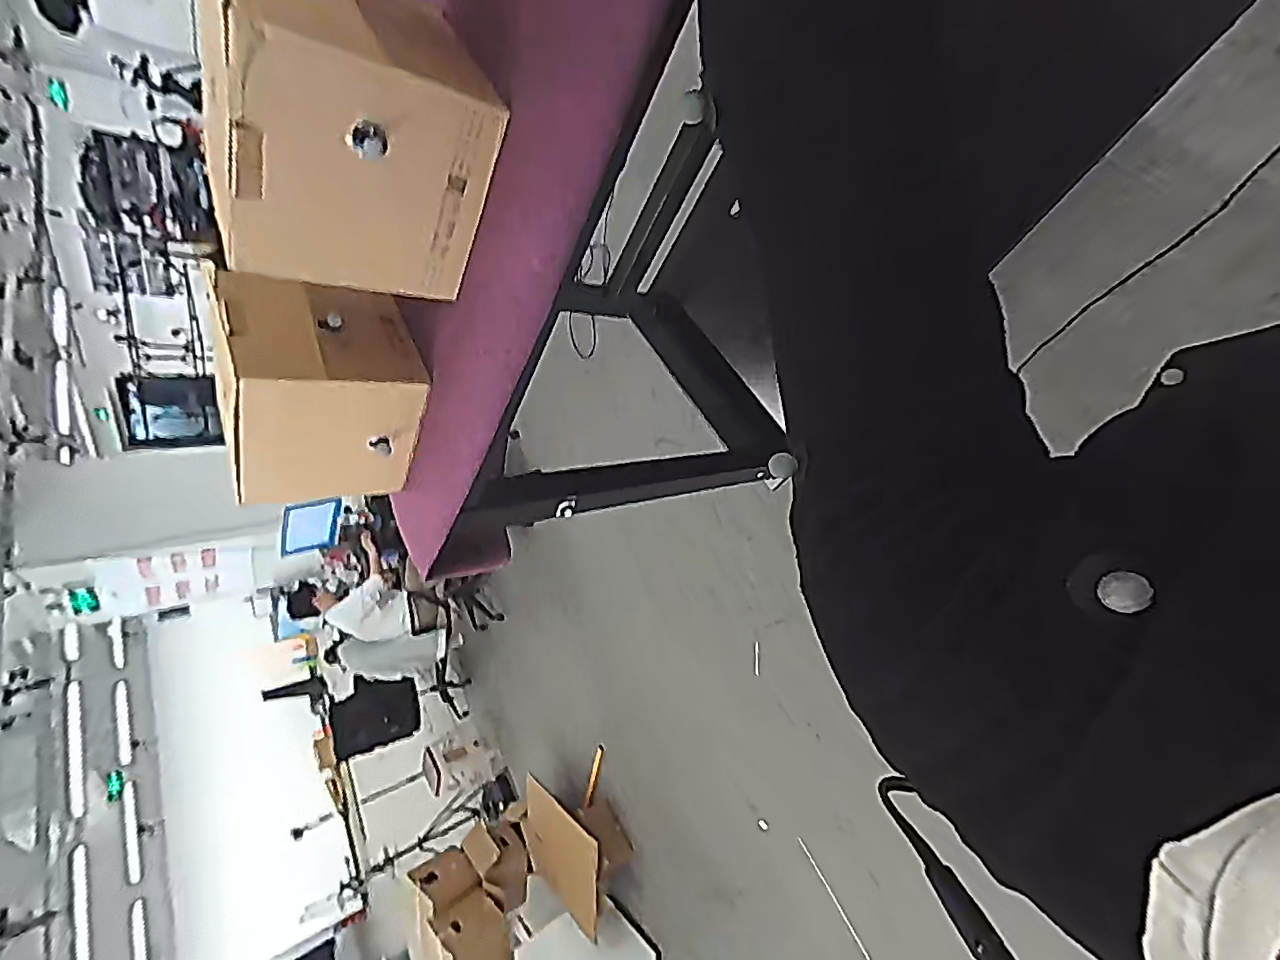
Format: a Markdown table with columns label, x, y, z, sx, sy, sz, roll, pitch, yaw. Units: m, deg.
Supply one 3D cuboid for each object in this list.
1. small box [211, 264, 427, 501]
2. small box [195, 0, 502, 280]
| label | x | y | z | sx | sy | sz | roll | pitch | yaw |
| --- | --- | --- | --- | --- | --- | --- | --- | --- | --- |
| small box | -0.348 | -0.101 | 0.589 | 0.168 | 0.176 | 0.179 | 57 | 132 | 28 |
| small box | -0.226 | -0.277 | 0.418 | 0.168 | 0.176 | 0.179 | -52 | 56 | 40 |
